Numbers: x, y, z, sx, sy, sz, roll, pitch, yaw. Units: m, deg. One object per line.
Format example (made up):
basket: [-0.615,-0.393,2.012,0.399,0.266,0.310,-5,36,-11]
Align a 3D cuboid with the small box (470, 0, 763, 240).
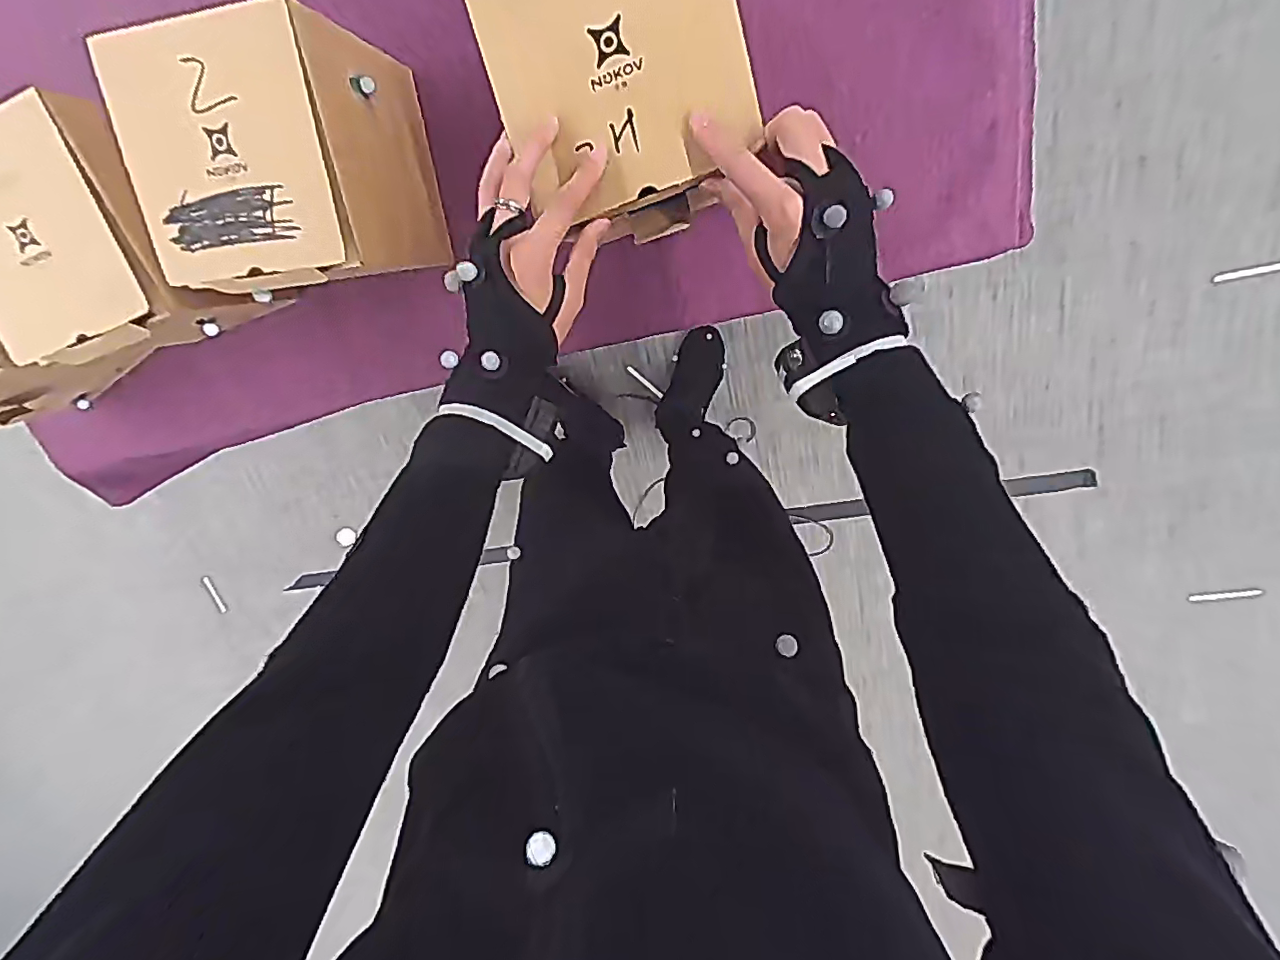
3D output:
small box: [-0.007,-0.305,0.428,0.168,0.176,0.179,-13,110,14]
